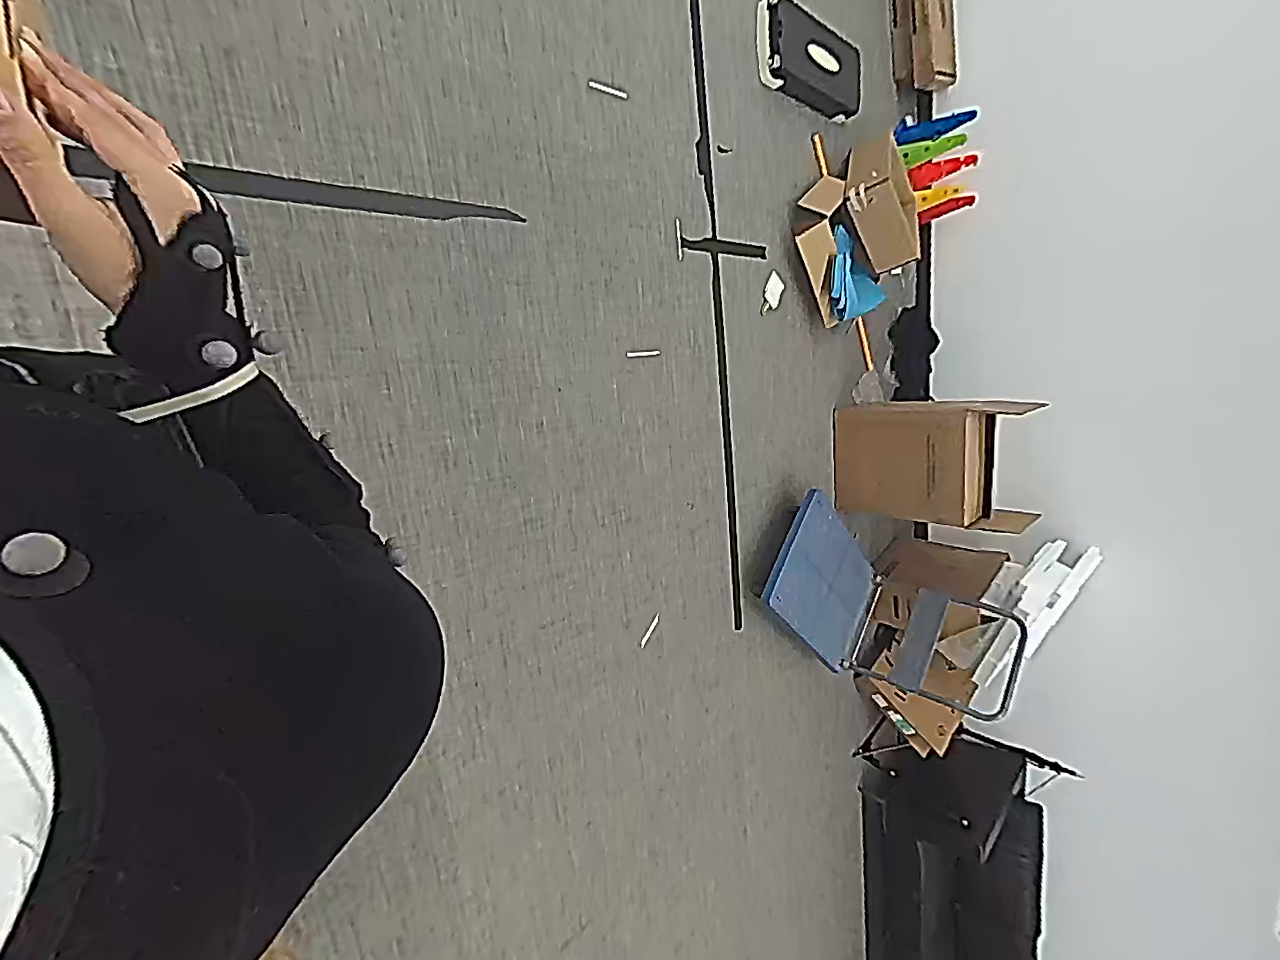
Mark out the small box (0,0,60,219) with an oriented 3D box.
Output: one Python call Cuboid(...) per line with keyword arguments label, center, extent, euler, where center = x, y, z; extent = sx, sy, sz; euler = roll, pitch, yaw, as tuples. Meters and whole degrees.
Cuboid(label="small box", center=(-0.403, -0.237, 0.242), extent=(0.179, 0.176, 0.168), euler=(-8, 100, -44))
